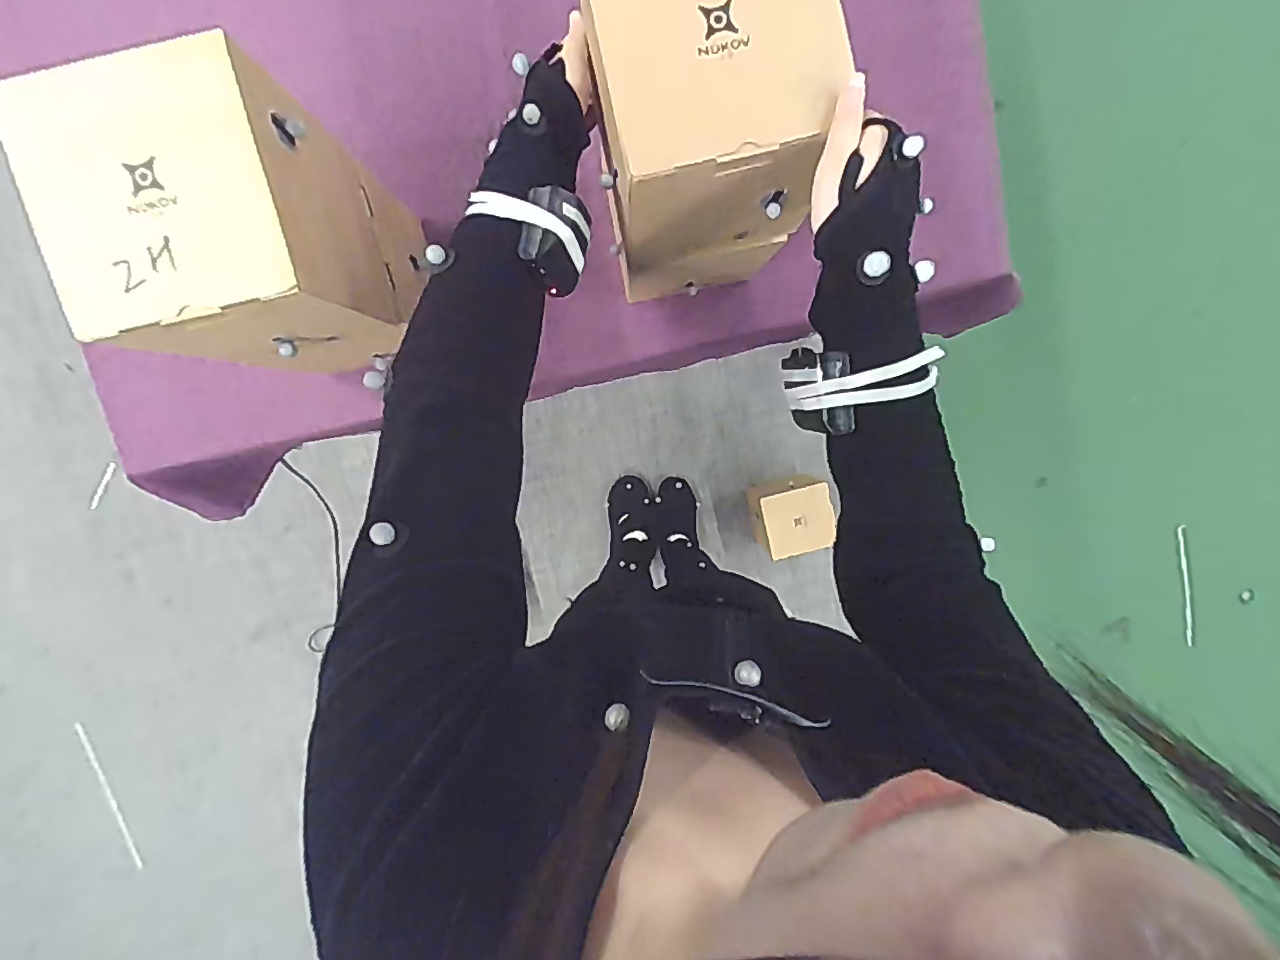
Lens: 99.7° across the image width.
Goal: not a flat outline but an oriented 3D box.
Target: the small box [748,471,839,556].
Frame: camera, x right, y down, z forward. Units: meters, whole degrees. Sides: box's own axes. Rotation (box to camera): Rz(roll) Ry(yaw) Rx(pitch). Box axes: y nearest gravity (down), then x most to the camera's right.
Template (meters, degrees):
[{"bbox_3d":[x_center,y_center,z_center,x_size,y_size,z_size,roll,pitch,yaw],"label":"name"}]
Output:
[{"bbox_3d":[0.394,0.082,1.422,0.179,0.176,0.168,-15,98,0],"label":"small box"}]

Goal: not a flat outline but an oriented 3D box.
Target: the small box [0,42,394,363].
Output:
[{"bbox_3d":[-0.338,-0.206,0.454,0.168,0.176,0.179,-13,98,1],"label":"small box"}]

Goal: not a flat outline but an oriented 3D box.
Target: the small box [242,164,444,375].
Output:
[{"bbox_3d":[-0.342,-0.223,0.619,0.179,0.176,0.168,-15,97,0],"label":"small box"}]
